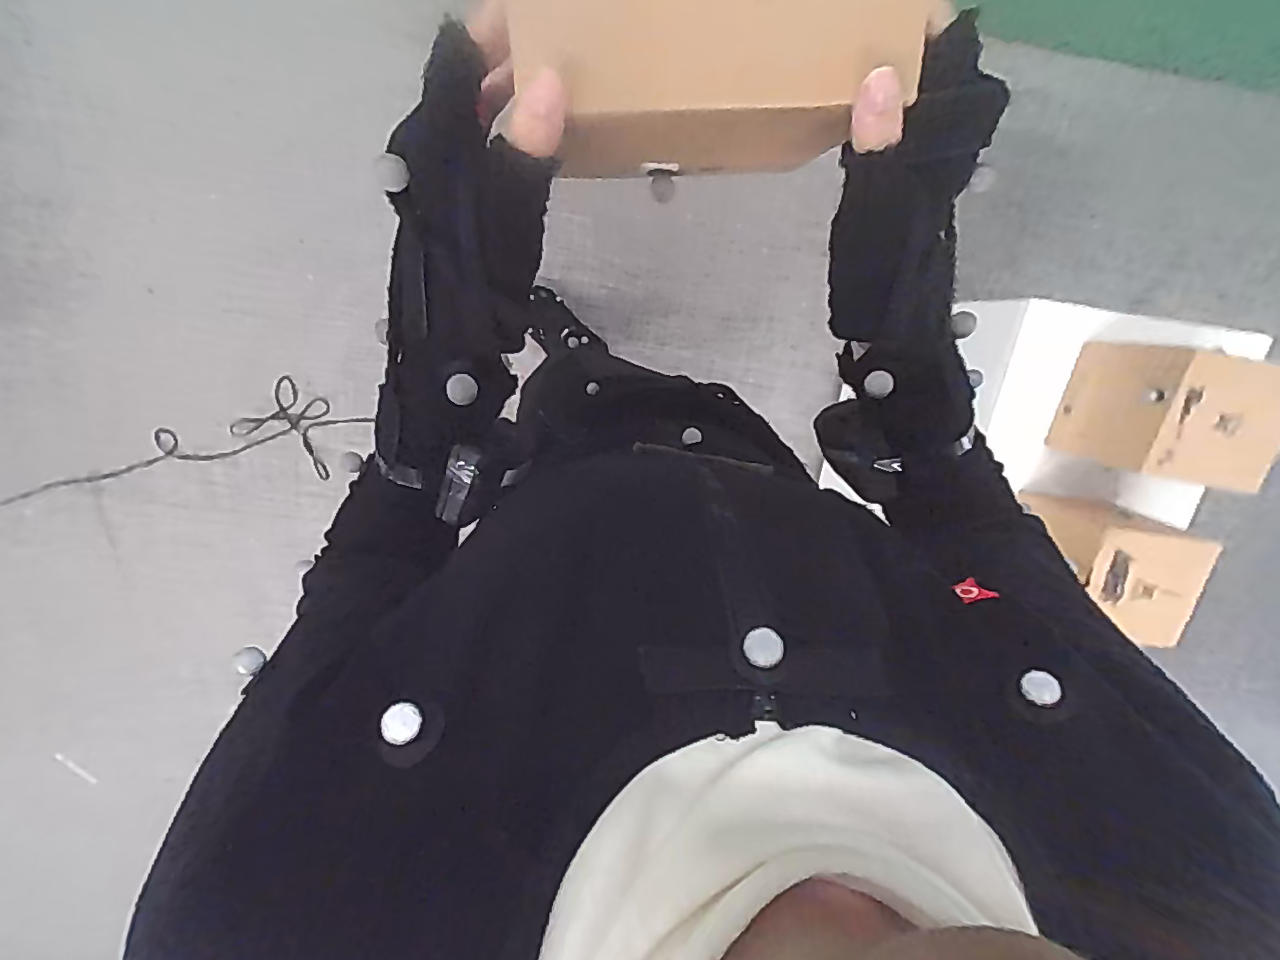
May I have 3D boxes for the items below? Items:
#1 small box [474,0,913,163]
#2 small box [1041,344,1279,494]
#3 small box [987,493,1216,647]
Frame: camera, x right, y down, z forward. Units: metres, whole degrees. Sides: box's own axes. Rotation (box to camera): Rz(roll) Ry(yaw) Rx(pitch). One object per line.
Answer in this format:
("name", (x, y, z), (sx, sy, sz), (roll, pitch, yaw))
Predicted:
("small box", (0.013, -0.265, 0.250), (0.168, 0.176, 0.179), (-4, 111, -2))
("small box", (0.726, -0.094, 0.757), (0.179, 0.176, 0.168), (9, 105, -7))
("small box", (0.675, 0.126, 0.818), (0.179, 0.176, 0.168), (8, 105, -6))
